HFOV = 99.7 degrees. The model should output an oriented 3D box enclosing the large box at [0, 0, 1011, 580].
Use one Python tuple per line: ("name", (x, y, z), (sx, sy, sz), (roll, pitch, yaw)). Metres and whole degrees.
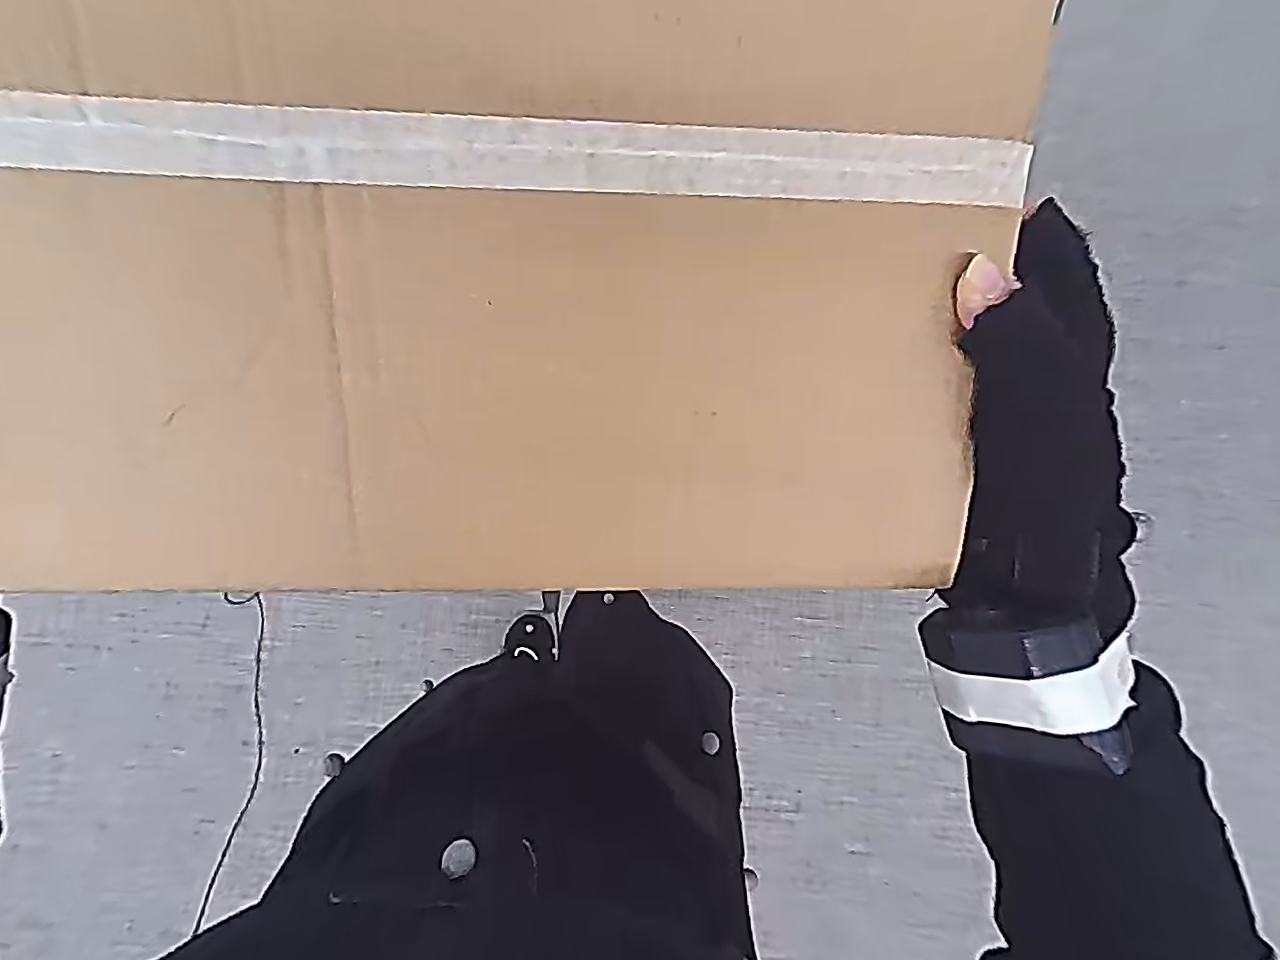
("large box", (-0.079, -0.145, 0.336), (0.408, 0.320, 0.320), (1, 104, -4))
